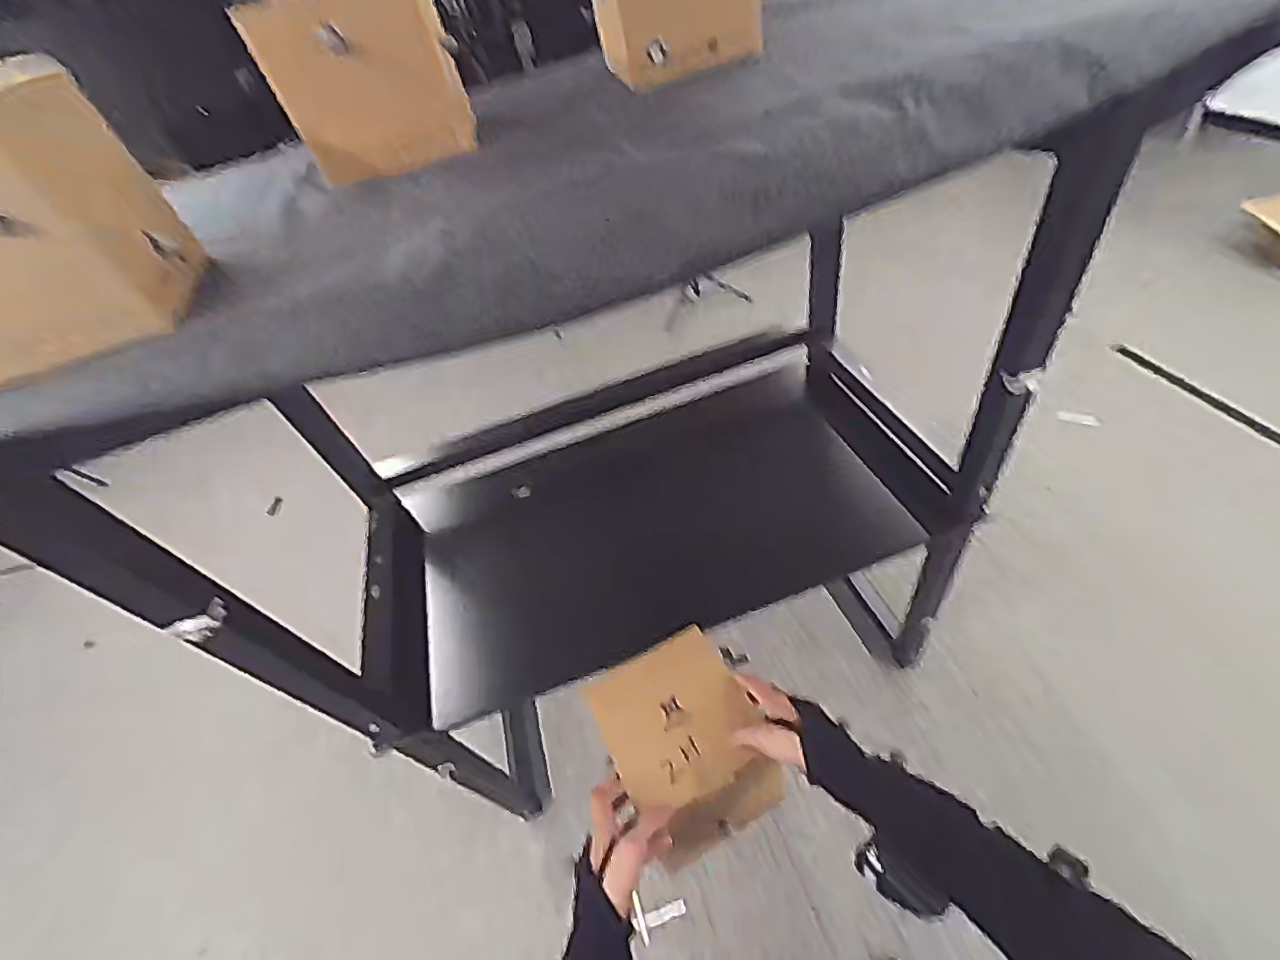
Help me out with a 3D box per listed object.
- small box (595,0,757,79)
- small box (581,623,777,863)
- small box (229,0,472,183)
[{"bbox_3d":[0.034,-0.612,0.650,0.168,0.176,0.179,-18,47,-1],"label":"small box"},{"bbox_3d":[0.048,0.317,0.659,0.168,0.176,0.179,-25,42,-13],"label":"small box"},{"bbox_3d":[-0.304,-0.473,0.618,0.179,0.176,0.168,-17,48,1],"label":"small box"}]
